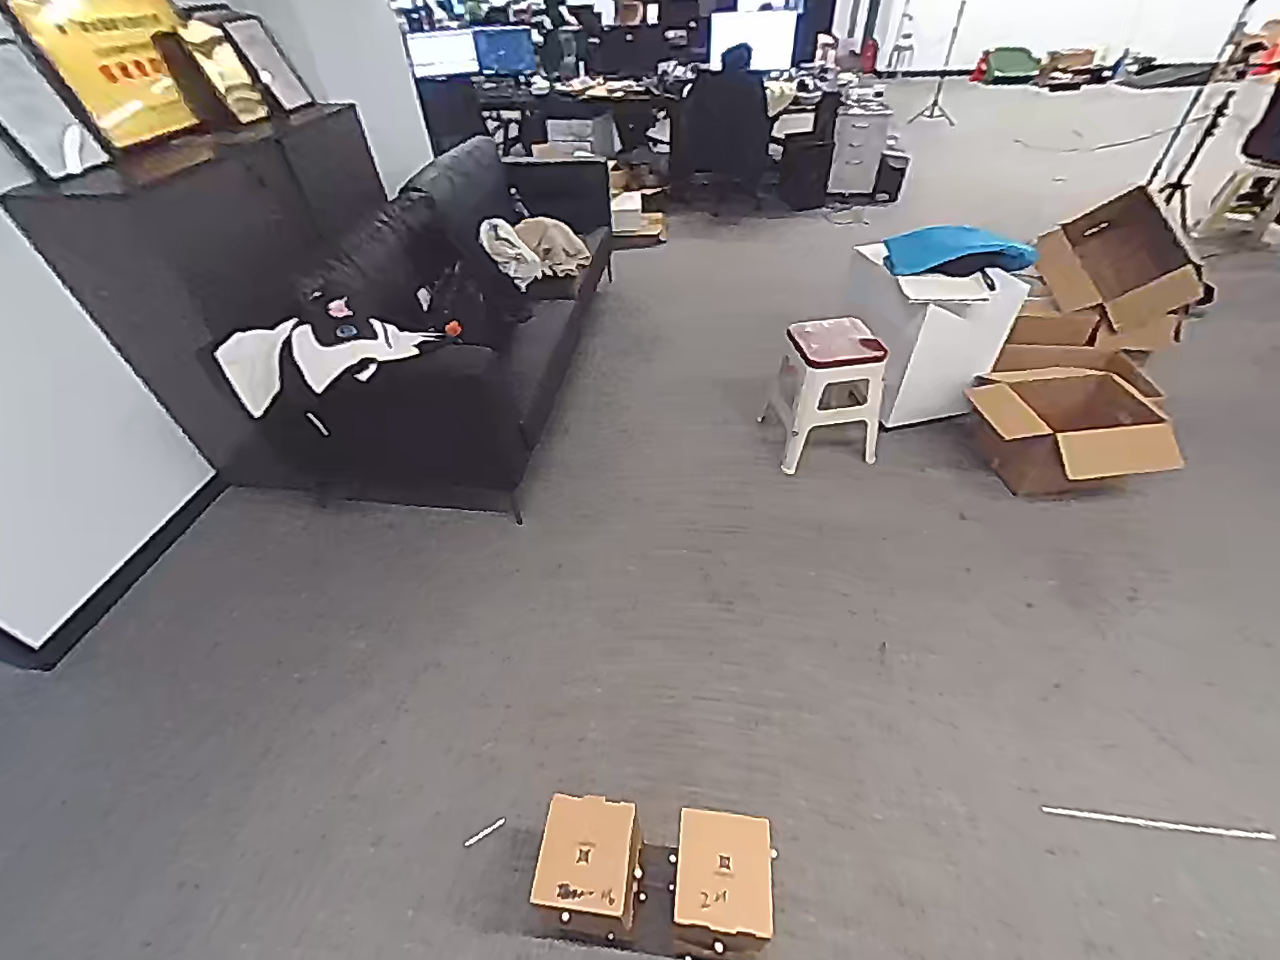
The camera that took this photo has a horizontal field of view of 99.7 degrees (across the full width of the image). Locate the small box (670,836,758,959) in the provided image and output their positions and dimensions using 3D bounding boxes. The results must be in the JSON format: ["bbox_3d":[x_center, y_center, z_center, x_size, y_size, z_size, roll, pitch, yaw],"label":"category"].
[{"bbox_3d":[0.153,0.869,1.116,0.168,0.176,0.179,4,43,7],"label":"small box"}]
